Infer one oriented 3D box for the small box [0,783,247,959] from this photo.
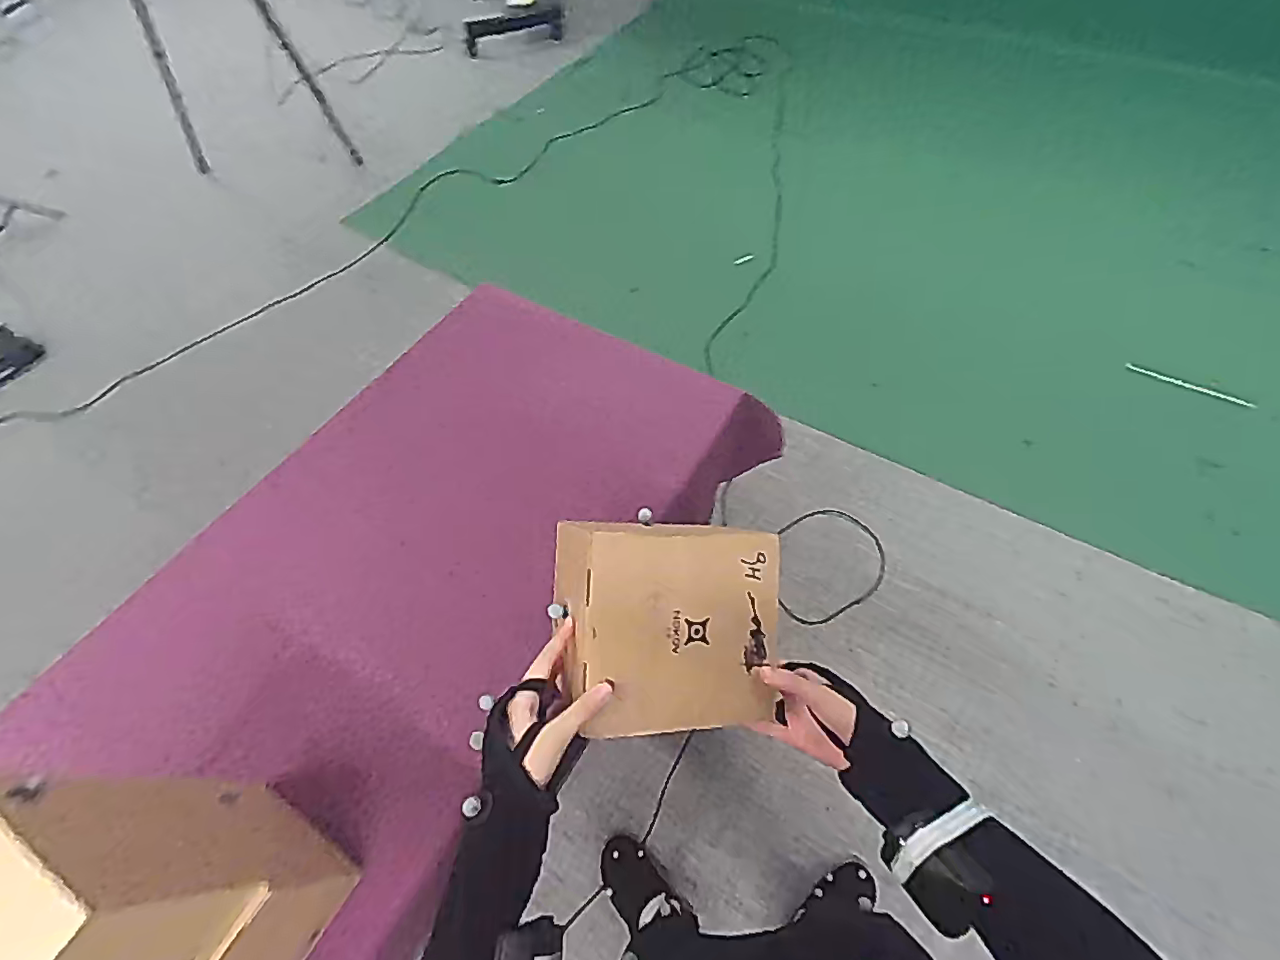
[{"bbox_3d":[-0.450,0.342,0.394,0.179,0.176,0.168,22,62,18],"label":"small box"}]
